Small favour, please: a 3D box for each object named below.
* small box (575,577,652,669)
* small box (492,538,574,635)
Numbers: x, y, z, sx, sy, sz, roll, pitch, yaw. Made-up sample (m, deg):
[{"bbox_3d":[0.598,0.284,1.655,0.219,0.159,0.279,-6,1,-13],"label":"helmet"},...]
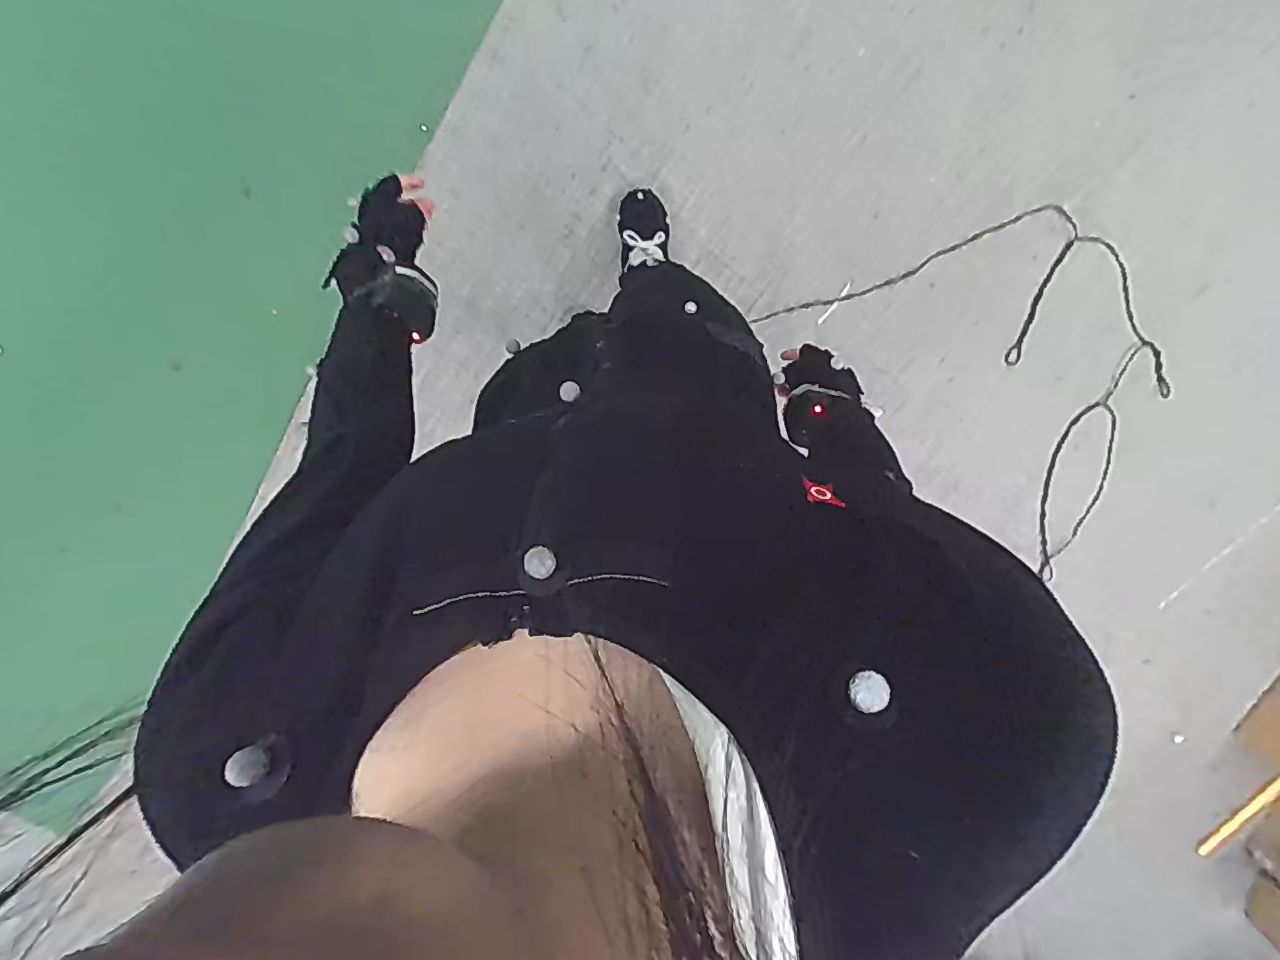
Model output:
[{"bbox_3d":[-0.081,0.418,1.606,0.168,0.176,0.179,25,110,-12],"label":"small box"},{"bbox_3d":[-0.299,0.302,1.555,0.168,0.176,0.179,29,108,-14],"label":"small box"}]
